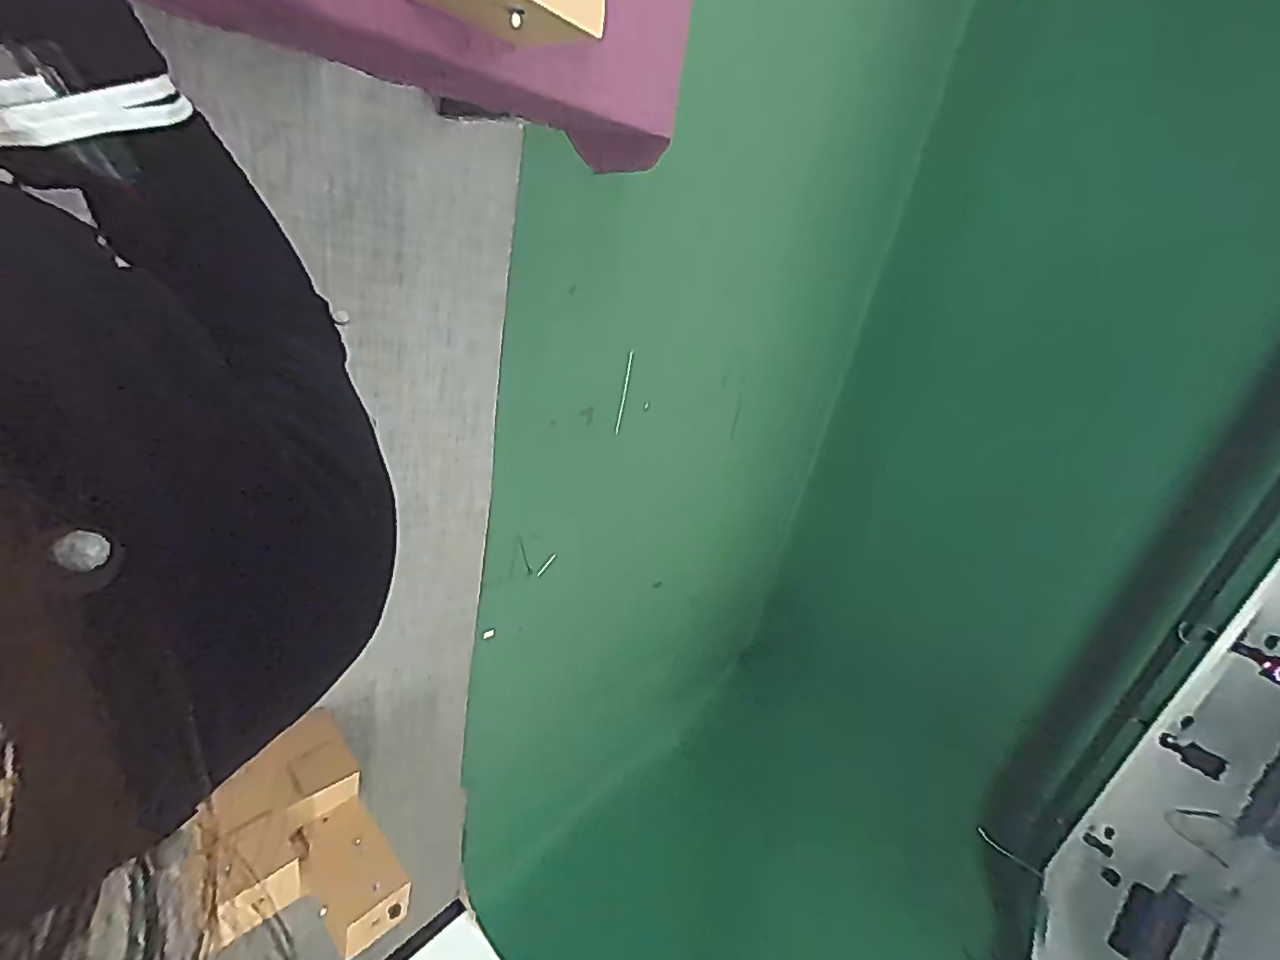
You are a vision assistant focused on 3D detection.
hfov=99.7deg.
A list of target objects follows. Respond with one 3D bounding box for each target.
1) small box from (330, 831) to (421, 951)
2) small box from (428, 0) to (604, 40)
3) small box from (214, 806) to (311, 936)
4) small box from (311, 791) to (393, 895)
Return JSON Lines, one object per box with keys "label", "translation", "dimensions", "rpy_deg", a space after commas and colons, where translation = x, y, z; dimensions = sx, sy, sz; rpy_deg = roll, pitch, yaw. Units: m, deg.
{"label": "small box", "translation": [-0.754, 1.159, 1.542], "dimensions": [0.179, 0.176, 0.168], "rpy_deg": [-13, 125, -49]}
{"label": "small box", "translation": [-0.152, -0.632, 0.616], "dimensions": [0.179, 0.176, 0.168], "rpy_deg": [-17, 127, -47]}
{"label": "small box", "translation": [-0.991, 1.015, 1.417], "dimensions": [0.179, 0.176, 0.168], "rpy_deg": [-15, 126, -48]}
{"label": "small box", "translation": [-0.874, 1.094, 1.635], "dimensions": [0.168, 0.176, 0.179], "rpy_deg": [-13, 126, -49]}
